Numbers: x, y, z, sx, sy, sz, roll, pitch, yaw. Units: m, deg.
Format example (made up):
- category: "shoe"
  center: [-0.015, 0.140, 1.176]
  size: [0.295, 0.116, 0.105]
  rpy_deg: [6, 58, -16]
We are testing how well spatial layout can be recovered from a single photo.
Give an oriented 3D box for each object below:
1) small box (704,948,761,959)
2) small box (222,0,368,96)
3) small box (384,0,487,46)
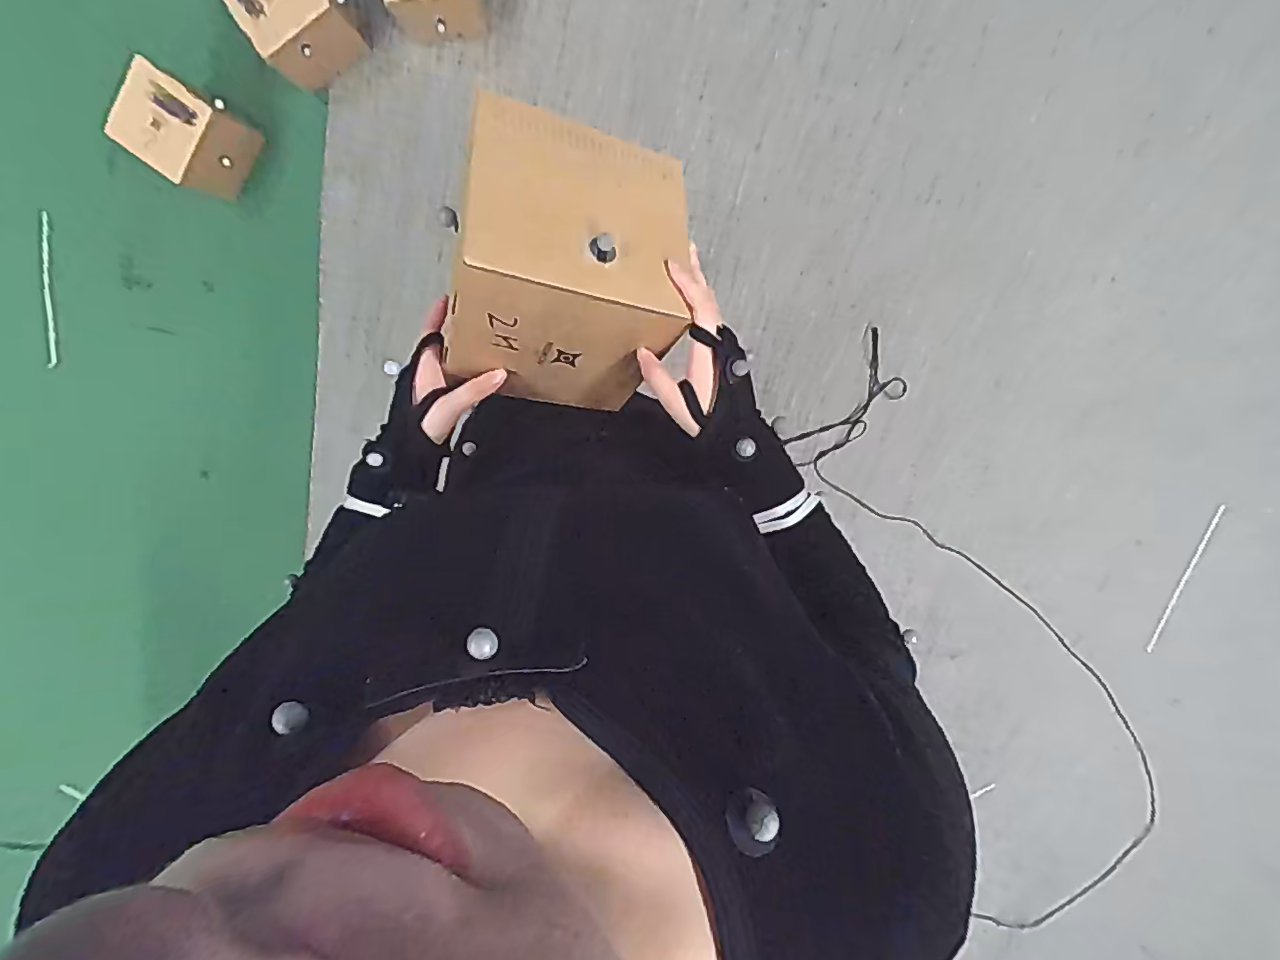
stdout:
- category: "small box"
  center: [0.186, 0.948, 0.915]
  size: [0.179, 0.176, 0.168]
  rpy_deg: [16, 104, -4]
- category: "small box"
  center: [-0.716, -0.958, 1.131]
  size: [0.179, 0.176, 0.168]
  rpy_deg: [-31, 103, 7]
- category: "small box"
  center: [-0.426, -1.032, 1.114]
  size: [0.168, 0.176, 0.179]
  rpy_deg: [-5, 106, 1]
